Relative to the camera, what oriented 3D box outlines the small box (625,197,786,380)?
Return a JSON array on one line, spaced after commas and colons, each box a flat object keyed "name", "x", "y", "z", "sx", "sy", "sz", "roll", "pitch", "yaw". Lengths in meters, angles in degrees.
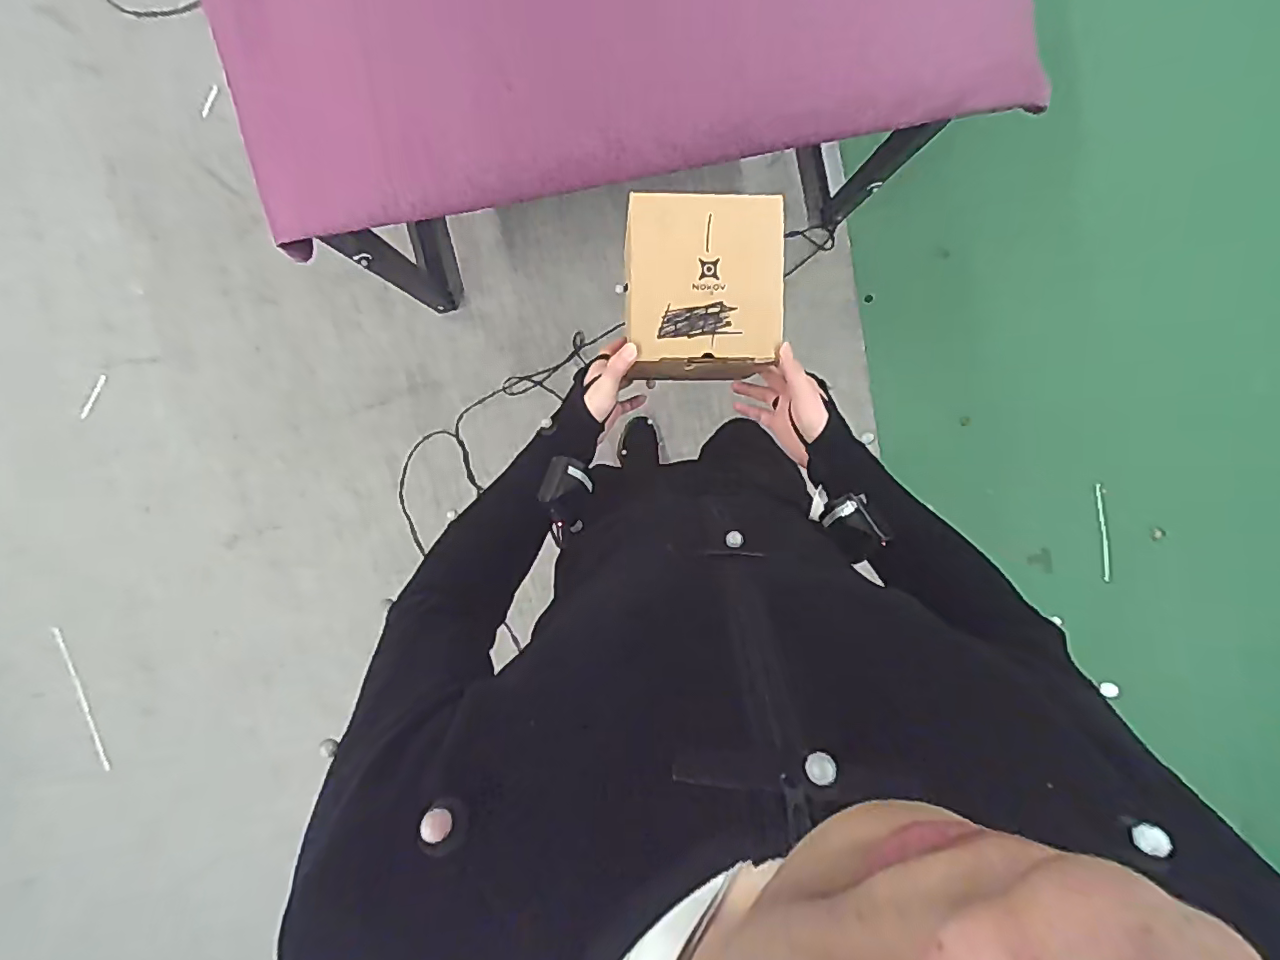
[{"name": "small box", "x": 0.069, "y": -0.217, "z": 0.657, "sx": 0.168, "sy": 0.176, "sz": 0.179, "roll": -1, "pitch": 93, "yaw": -4}]
